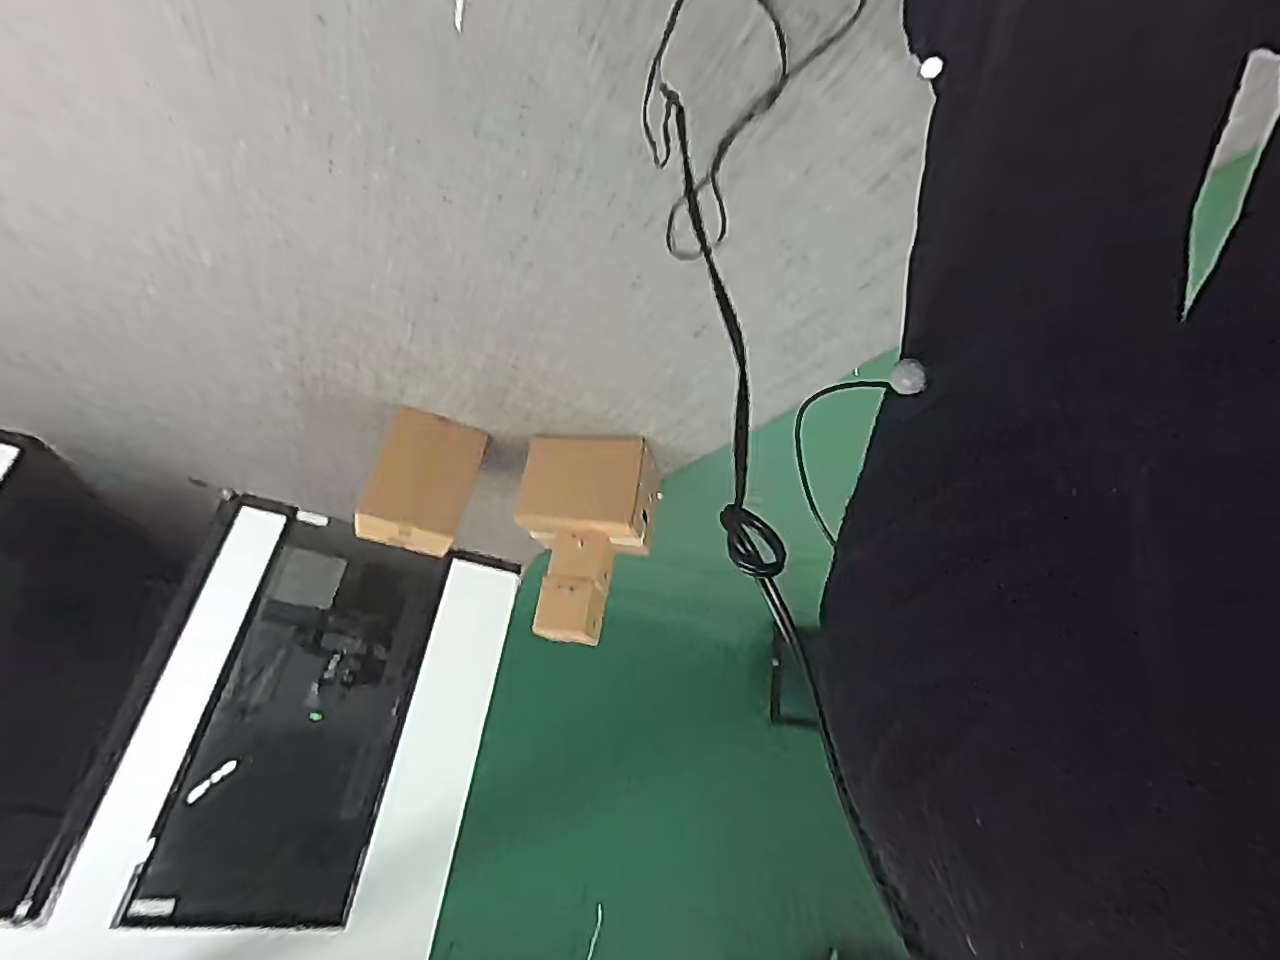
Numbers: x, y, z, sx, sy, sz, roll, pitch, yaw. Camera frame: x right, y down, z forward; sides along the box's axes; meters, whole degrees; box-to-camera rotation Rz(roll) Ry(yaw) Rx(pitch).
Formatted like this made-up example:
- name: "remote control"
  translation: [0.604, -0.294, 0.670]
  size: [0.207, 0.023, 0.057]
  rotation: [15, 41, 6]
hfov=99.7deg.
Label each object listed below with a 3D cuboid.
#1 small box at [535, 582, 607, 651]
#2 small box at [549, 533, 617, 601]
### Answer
- name: "small box"
  translation: [-0.210, 0.432, 1.708]
  size: [0.168, 0.176, 0.179]
  rotation: [2, 155, 14]
- name: "small box"
  translation: [-0.180, 0.288, 1.779]
  size: [0.168, 0.176, 0.179]
  rotation: [4, 155, 11]
